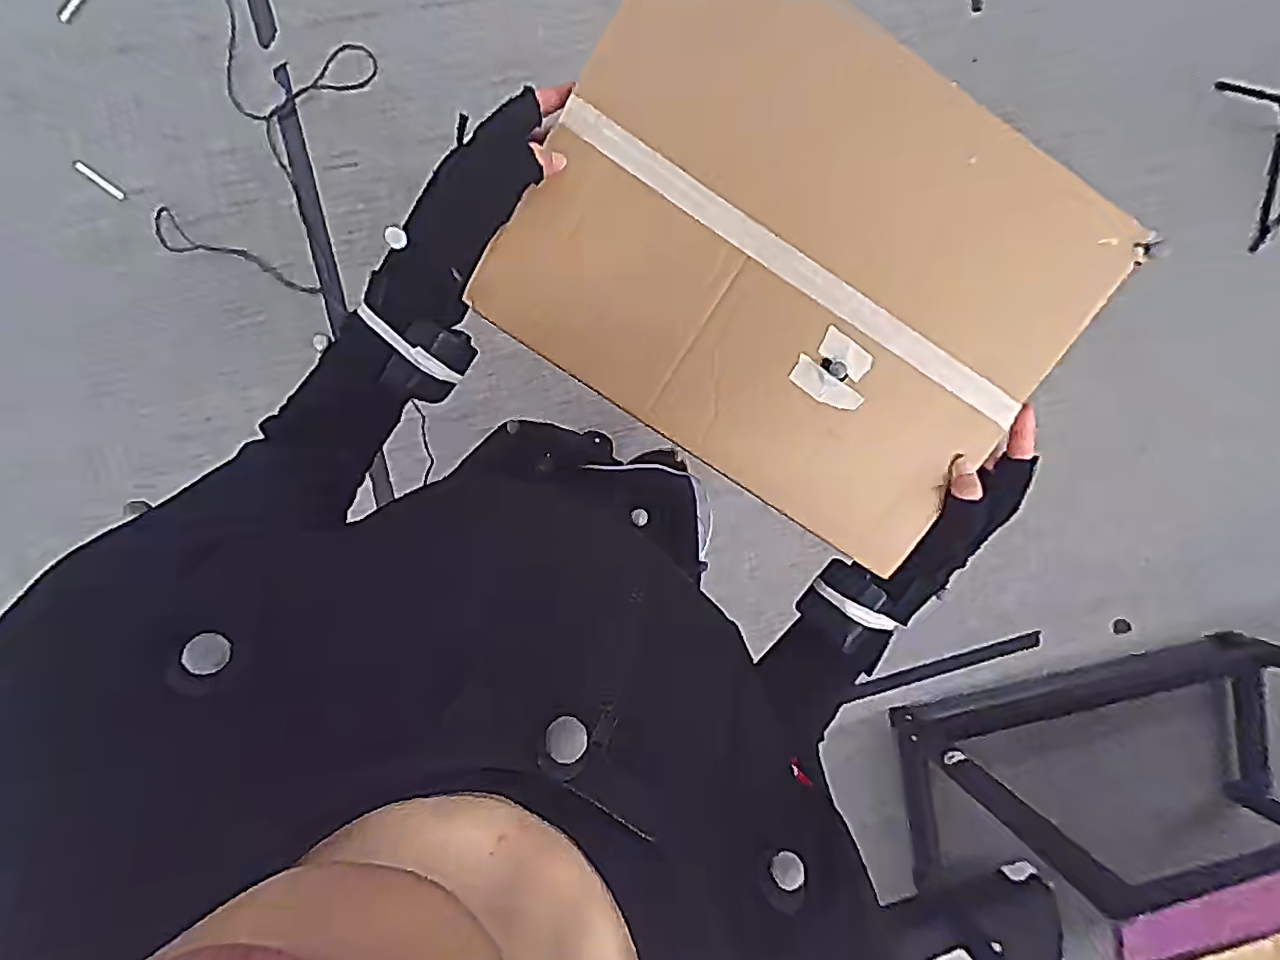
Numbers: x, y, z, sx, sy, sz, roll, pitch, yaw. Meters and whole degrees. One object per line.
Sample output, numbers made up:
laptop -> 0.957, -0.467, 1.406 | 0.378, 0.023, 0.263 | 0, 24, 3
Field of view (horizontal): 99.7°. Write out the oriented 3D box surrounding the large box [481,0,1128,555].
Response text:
large box -> 0.122, -0.192, 0.559 | 0.408, 0.320, 0.320 | 33, 101, -5
